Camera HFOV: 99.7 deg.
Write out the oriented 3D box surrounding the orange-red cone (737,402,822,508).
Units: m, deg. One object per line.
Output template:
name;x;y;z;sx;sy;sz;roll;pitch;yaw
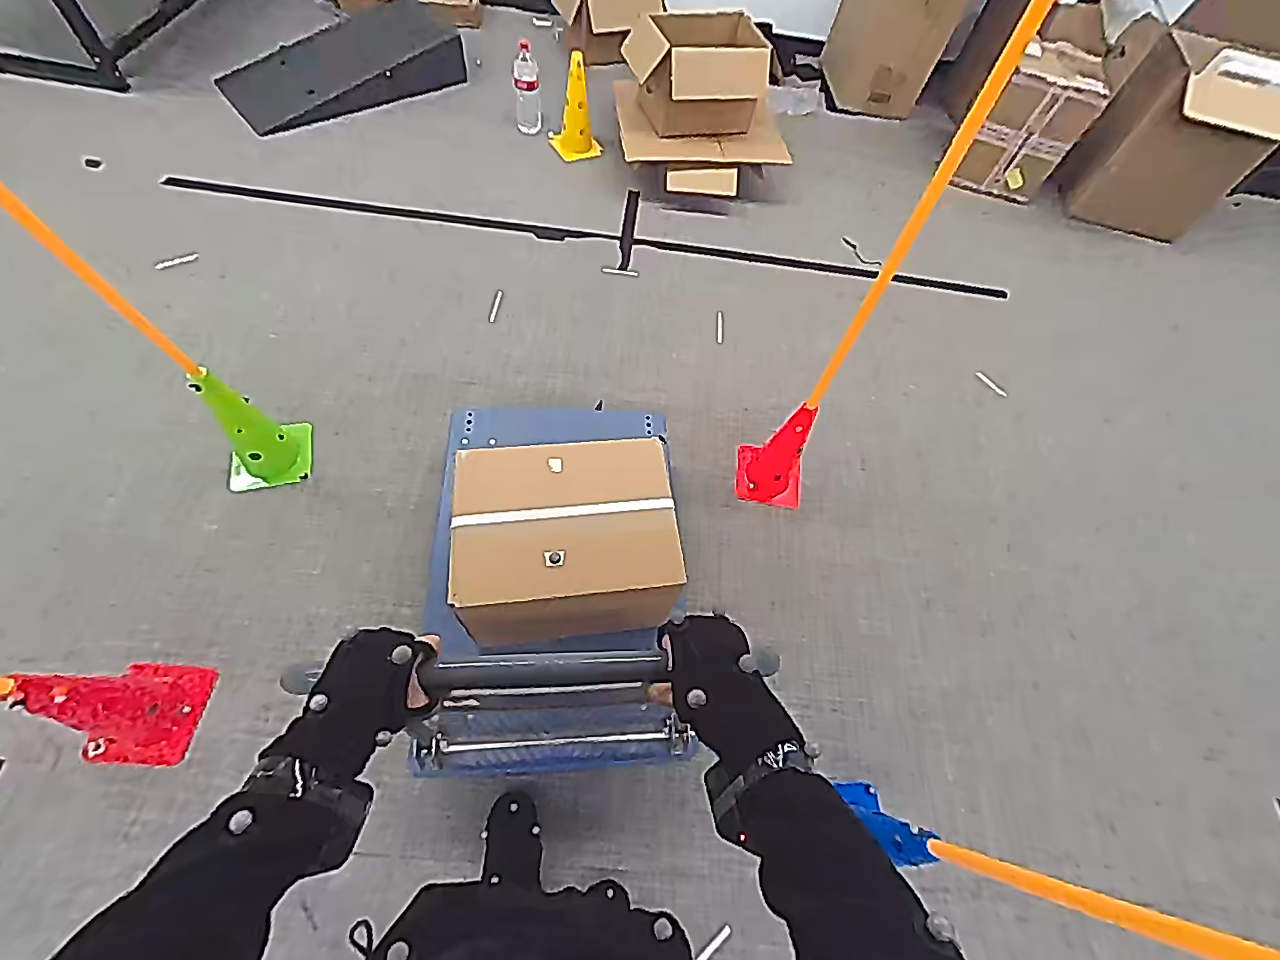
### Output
orange-red cone;0.422;-0.098;1.507;0.199;0.360;0.198;13;60;-1
